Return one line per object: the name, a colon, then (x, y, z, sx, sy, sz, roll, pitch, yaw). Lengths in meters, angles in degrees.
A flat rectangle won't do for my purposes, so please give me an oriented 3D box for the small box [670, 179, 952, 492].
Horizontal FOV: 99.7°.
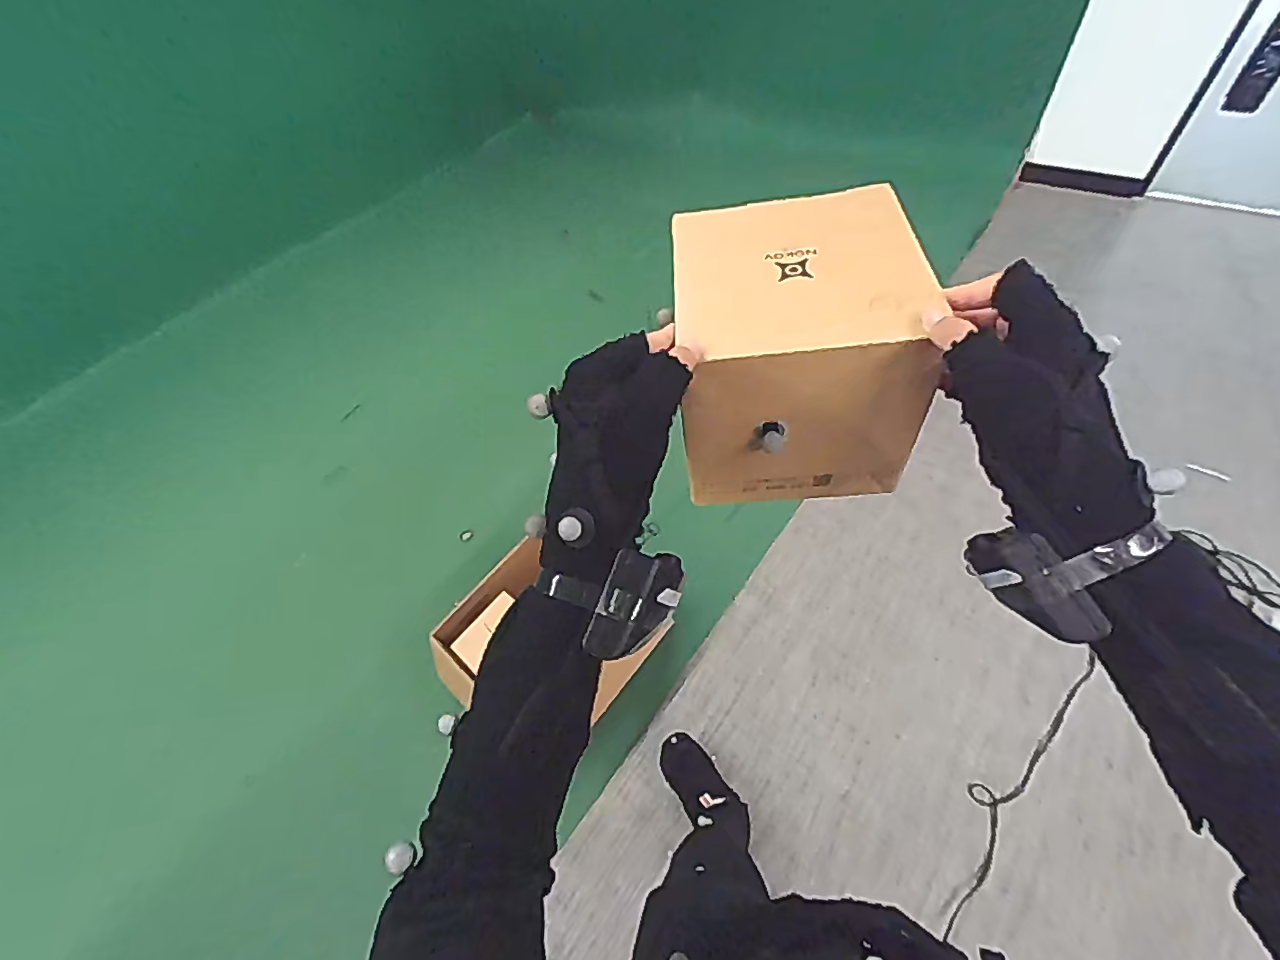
small box: (0.116, -0.101, 0.431, 0.168, 0.176, 0.179, -5, 54, 8)
